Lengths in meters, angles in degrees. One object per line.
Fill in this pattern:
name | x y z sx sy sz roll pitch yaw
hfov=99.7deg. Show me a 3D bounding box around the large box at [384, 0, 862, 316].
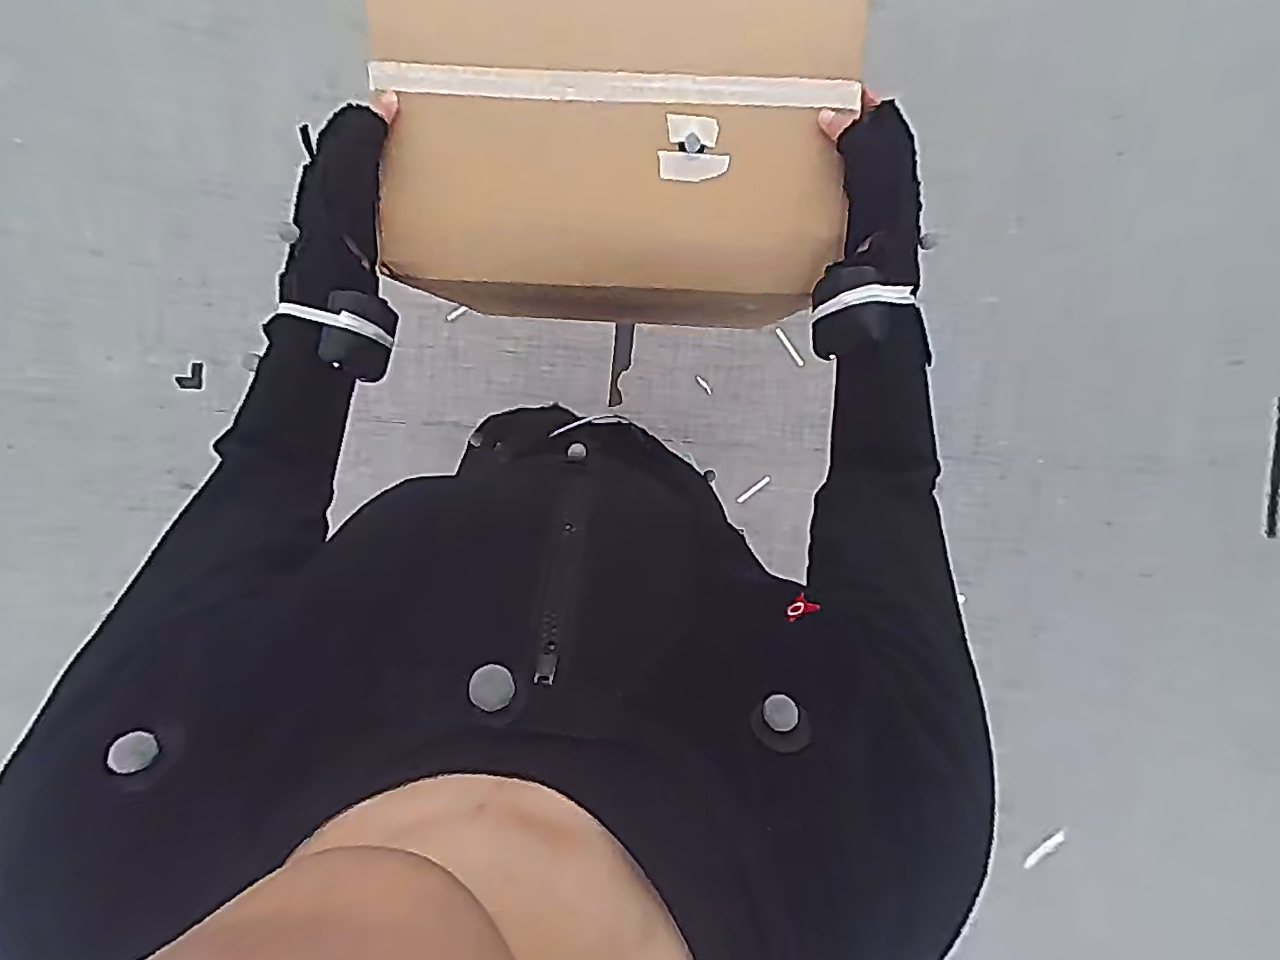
large box | -0.019 -0.363 0.603 0.408 0.320 0.320 3 102 -1
